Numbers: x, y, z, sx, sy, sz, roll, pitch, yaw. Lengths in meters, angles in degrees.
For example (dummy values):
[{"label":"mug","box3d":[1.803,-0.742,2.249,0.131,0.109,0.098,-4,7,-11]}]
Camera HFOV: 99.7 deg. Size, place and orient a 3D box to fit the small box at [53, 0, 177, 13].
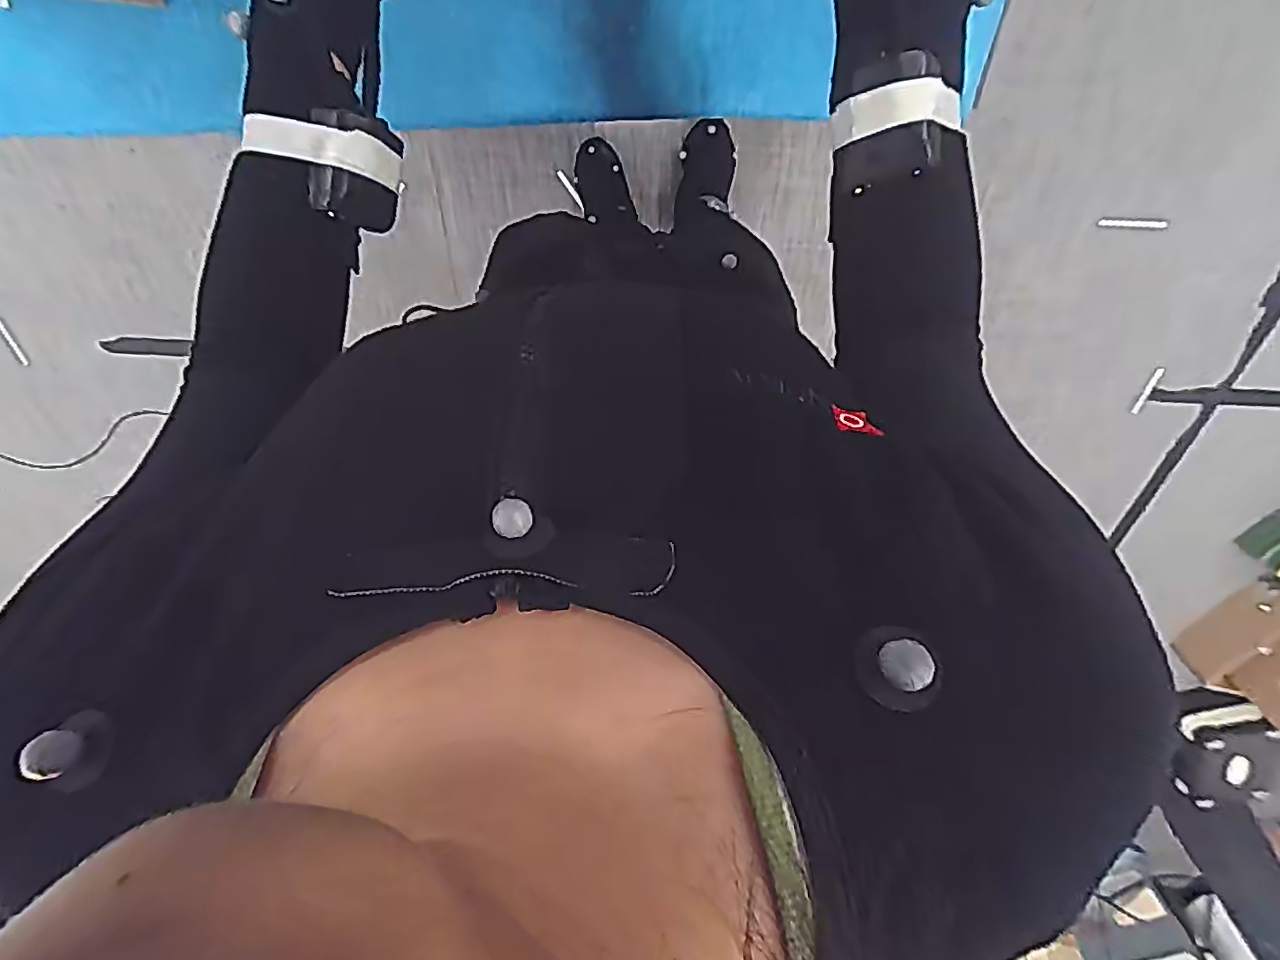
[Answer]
[{"label":"small box","box3d":[-0.507,-0.468,0.389,0.168,0.176,0.179,5,127,-2]}]
